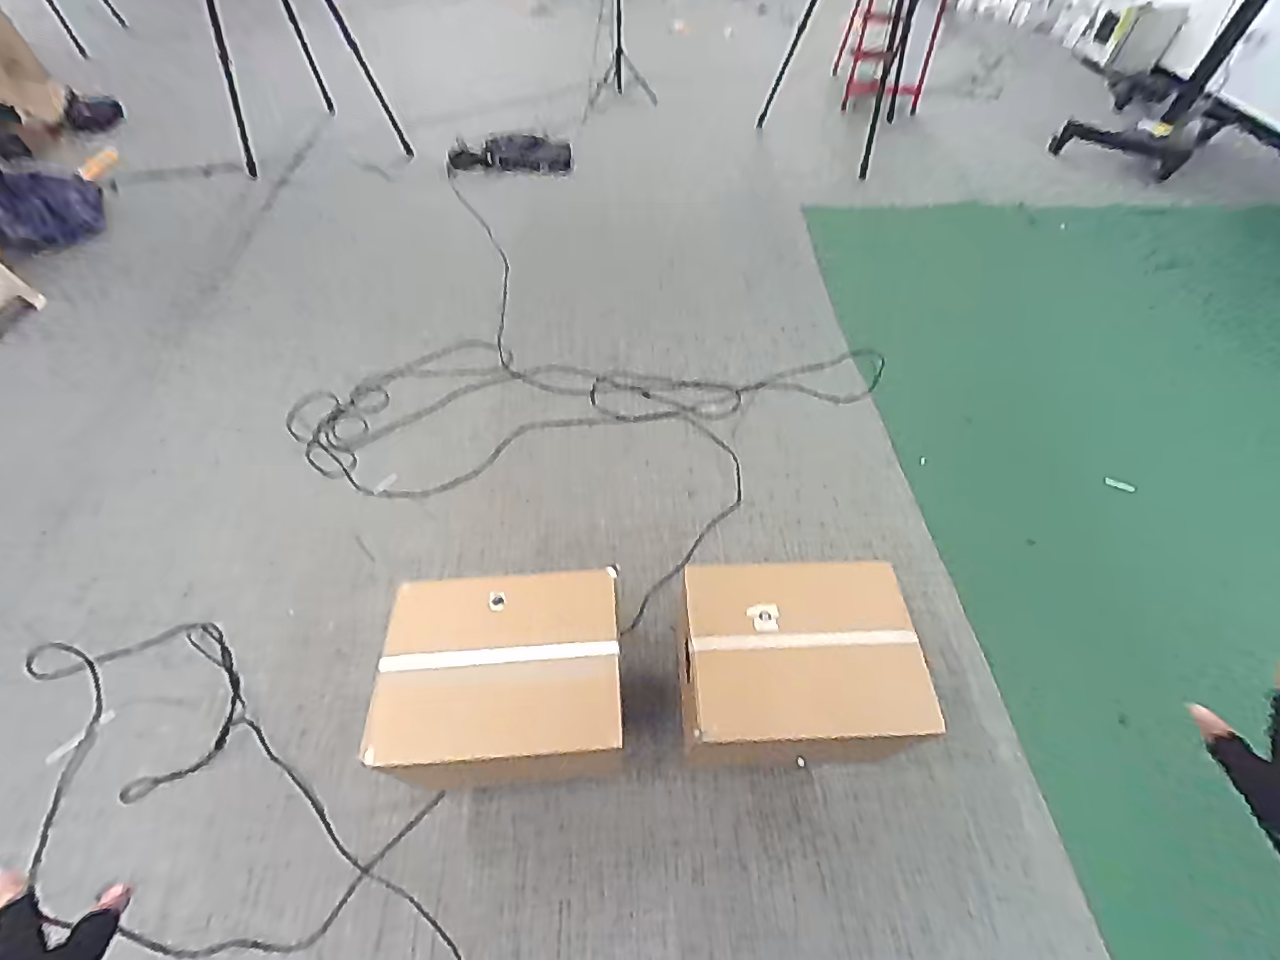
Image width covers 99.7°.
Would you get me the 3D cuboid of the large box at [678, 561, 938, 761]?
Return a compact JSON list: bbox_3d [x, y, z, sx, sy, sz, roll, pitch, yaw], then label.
[{"bbox_3d":[0.295,0.376,1.098,0.408,0.320,0.320,-1,54,-1],"label":"large box"}]
